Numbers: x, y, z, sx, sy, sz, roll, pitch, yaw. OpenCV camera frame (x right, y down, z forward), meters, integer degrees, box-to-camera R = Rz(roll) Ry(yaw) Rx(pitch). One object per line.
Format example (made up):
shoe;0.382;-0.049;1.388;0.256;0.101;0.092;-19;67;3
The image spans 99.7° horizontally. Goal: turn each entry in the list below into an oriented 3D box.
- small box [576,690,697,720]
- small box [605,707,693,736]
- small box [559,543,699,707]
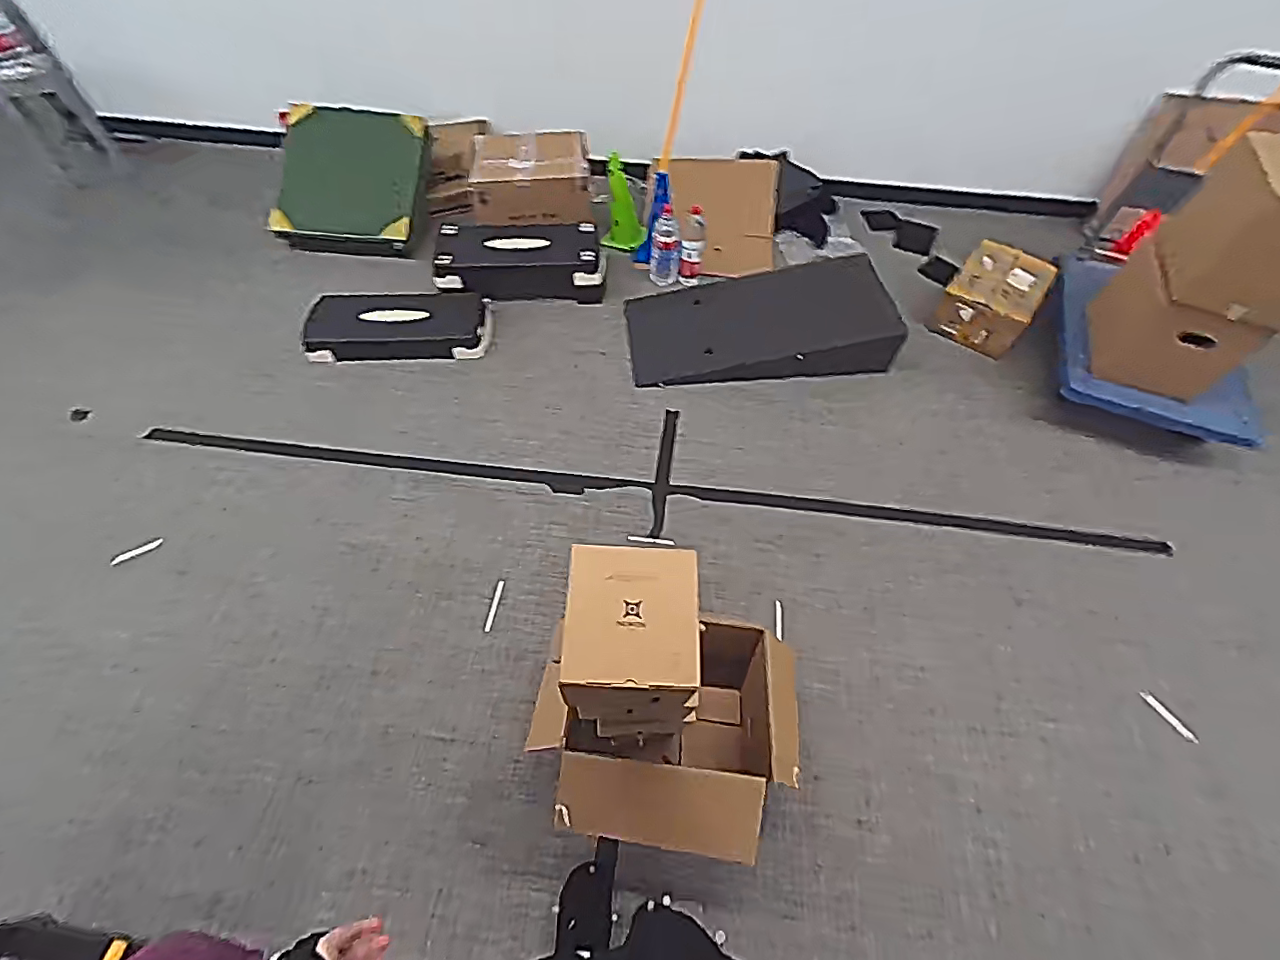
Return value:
small box;-0.007;0.288;0.872;0.179;0.176;0.168;3;60;-3
small box;0.002;0.441;1.165;0.179;0.176;0.168;-9;60;-11
small box;-0.013;0.203;0.732;0.168;0.176;0.179;4;59;-3
